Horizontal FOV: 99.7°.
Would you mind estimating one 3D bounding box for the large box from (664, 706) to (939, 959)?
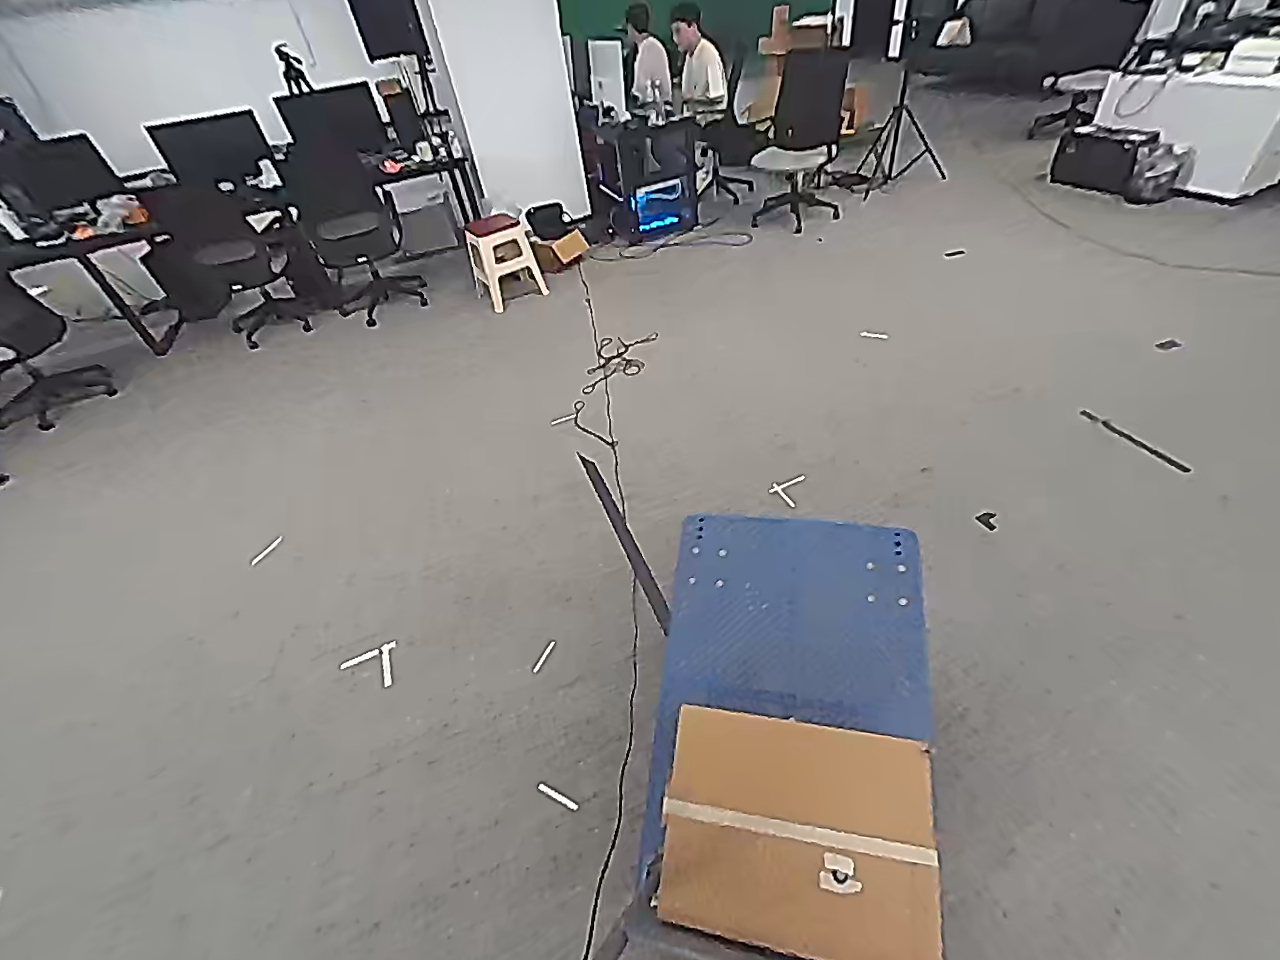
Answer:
[{"bbox_3d":[0.276,0.621,0.996,0.408,0.320,0.320,4,65,14],"label":"large box"}]
